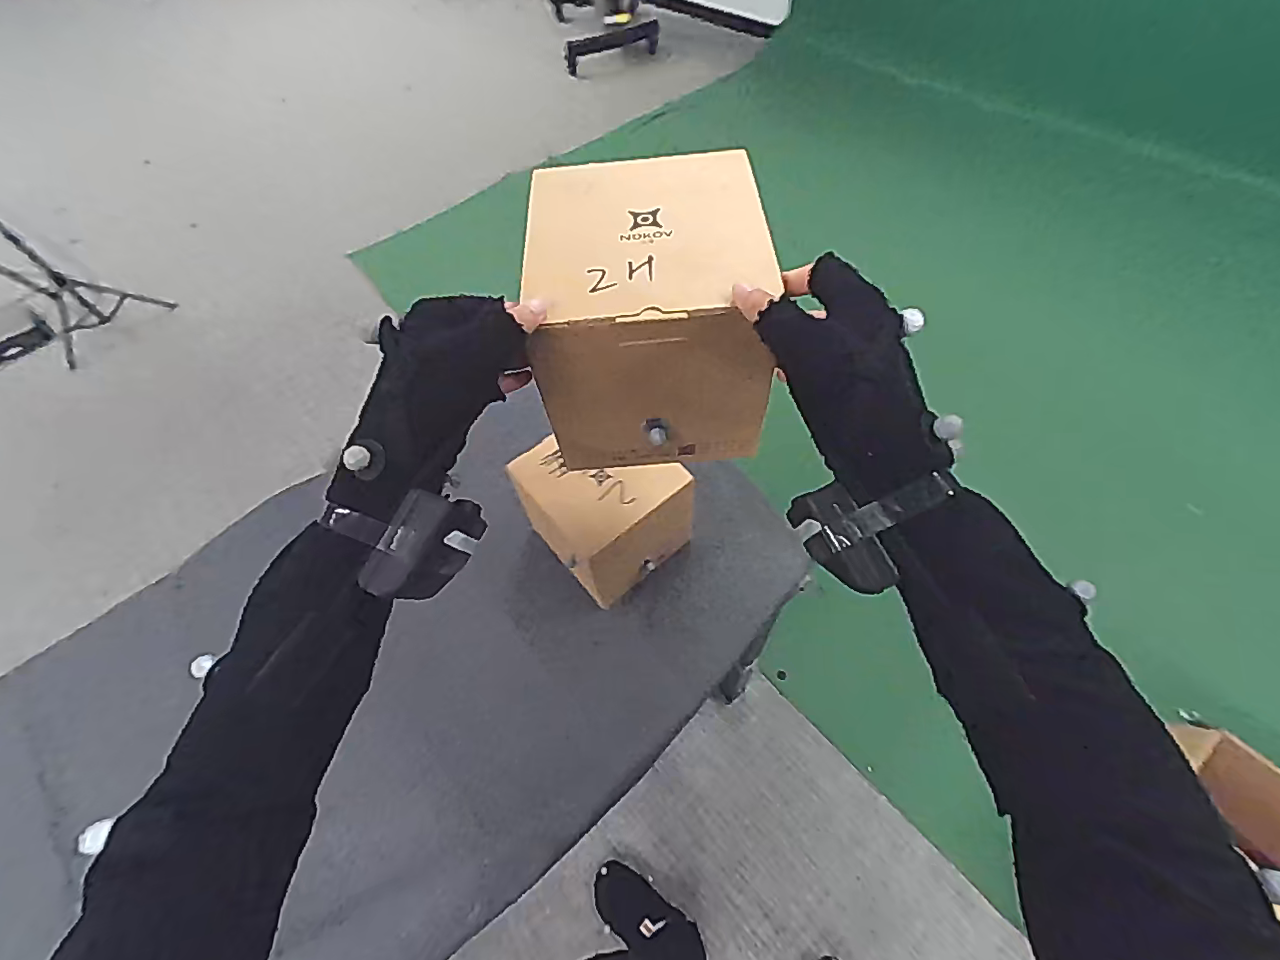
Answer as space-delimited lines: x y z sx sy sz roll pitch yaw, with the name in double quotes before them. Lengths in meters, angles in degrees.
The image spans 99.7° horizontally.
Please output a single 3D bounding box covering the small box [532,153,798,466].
"small box" 0.017 -0.130 0.439 0.168 0.176 0.179 -3 59 3
